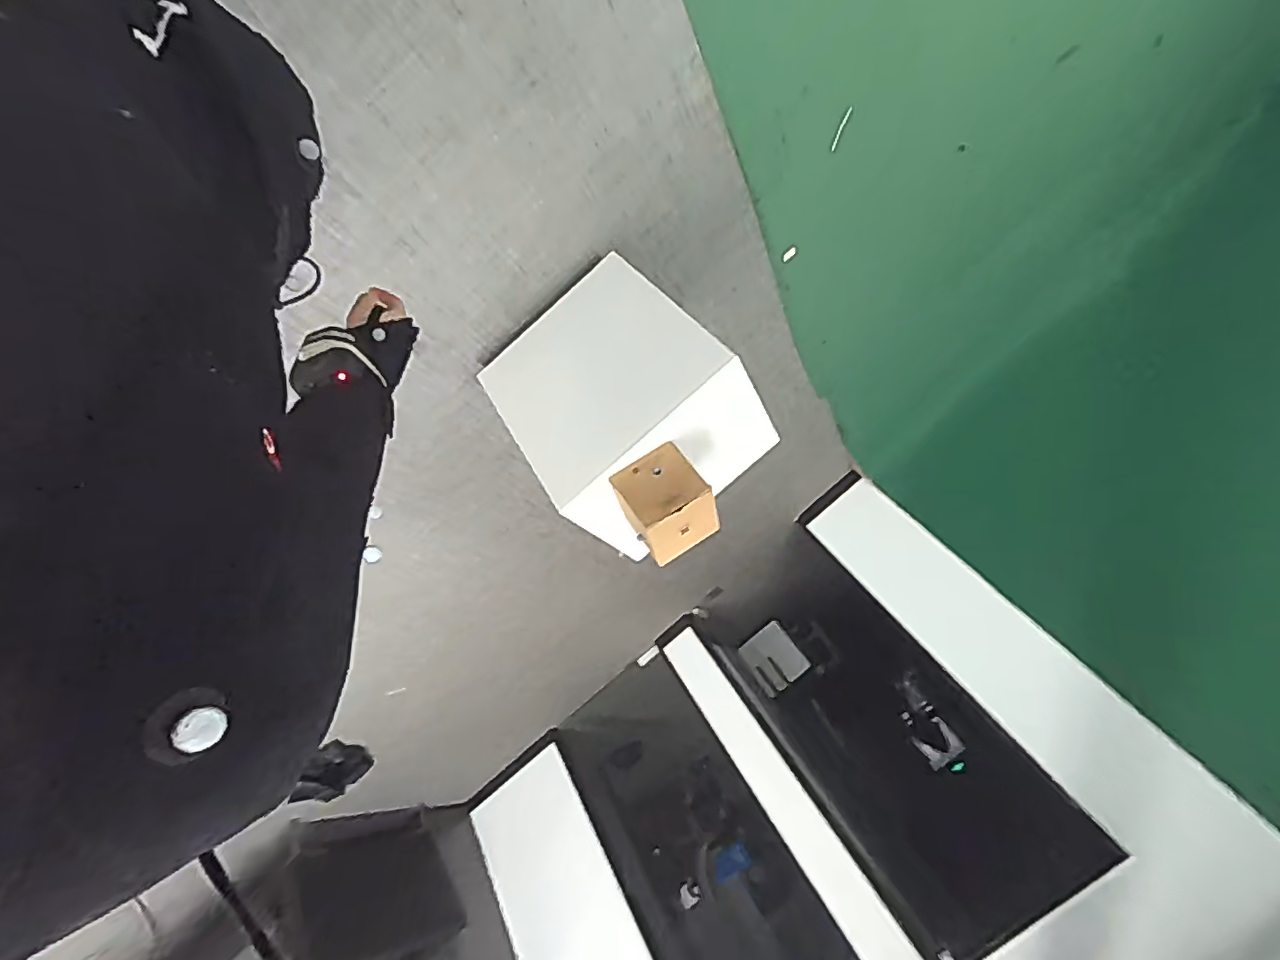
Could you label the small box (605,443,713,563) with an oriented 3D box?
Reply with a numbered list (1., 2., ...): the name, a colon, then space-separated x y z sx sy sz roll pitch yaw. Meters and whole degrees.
1. small box: 0.044 0.049 1.219 0.168 0.176 0.179 -32 145 -8
